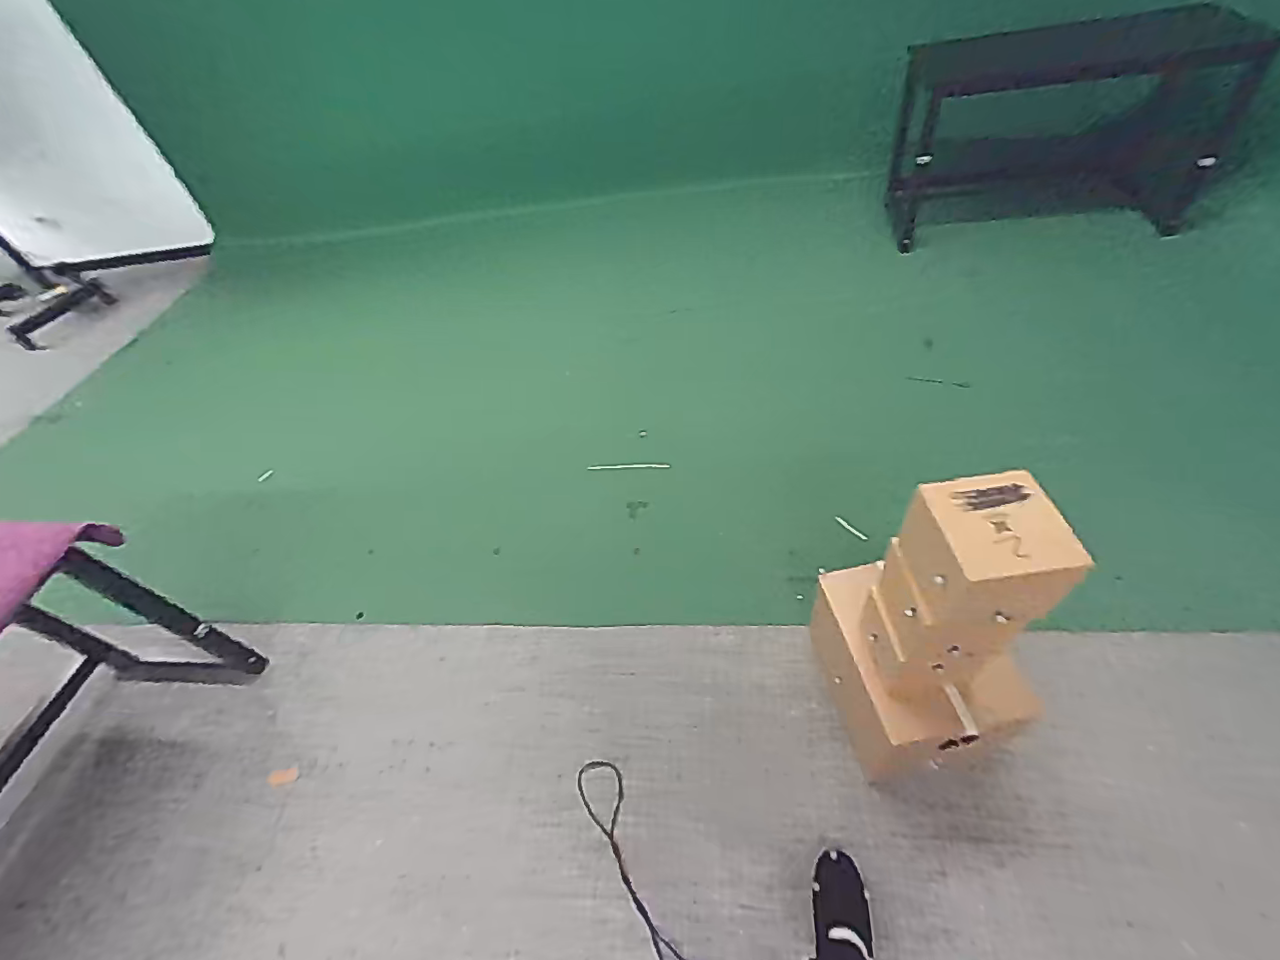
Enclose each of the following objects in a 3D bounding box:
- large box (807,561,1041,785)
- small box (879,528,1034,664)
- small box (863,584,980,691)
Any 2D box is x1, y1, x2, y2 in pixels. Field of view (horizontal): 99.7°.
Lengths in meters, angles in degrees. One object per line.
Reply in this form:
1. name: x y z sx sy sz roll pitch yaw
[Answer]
1. large box: 0.631 0.449 1.299 0.320 0.320 0.408 -12 47 -1
2. small box: 0.552 0.210 0.976 0.168 0.176 0.179 -7 49 5
3. small box: 0.569 0.314 1.099 0.179 0.176 0.168 -9 49 4
